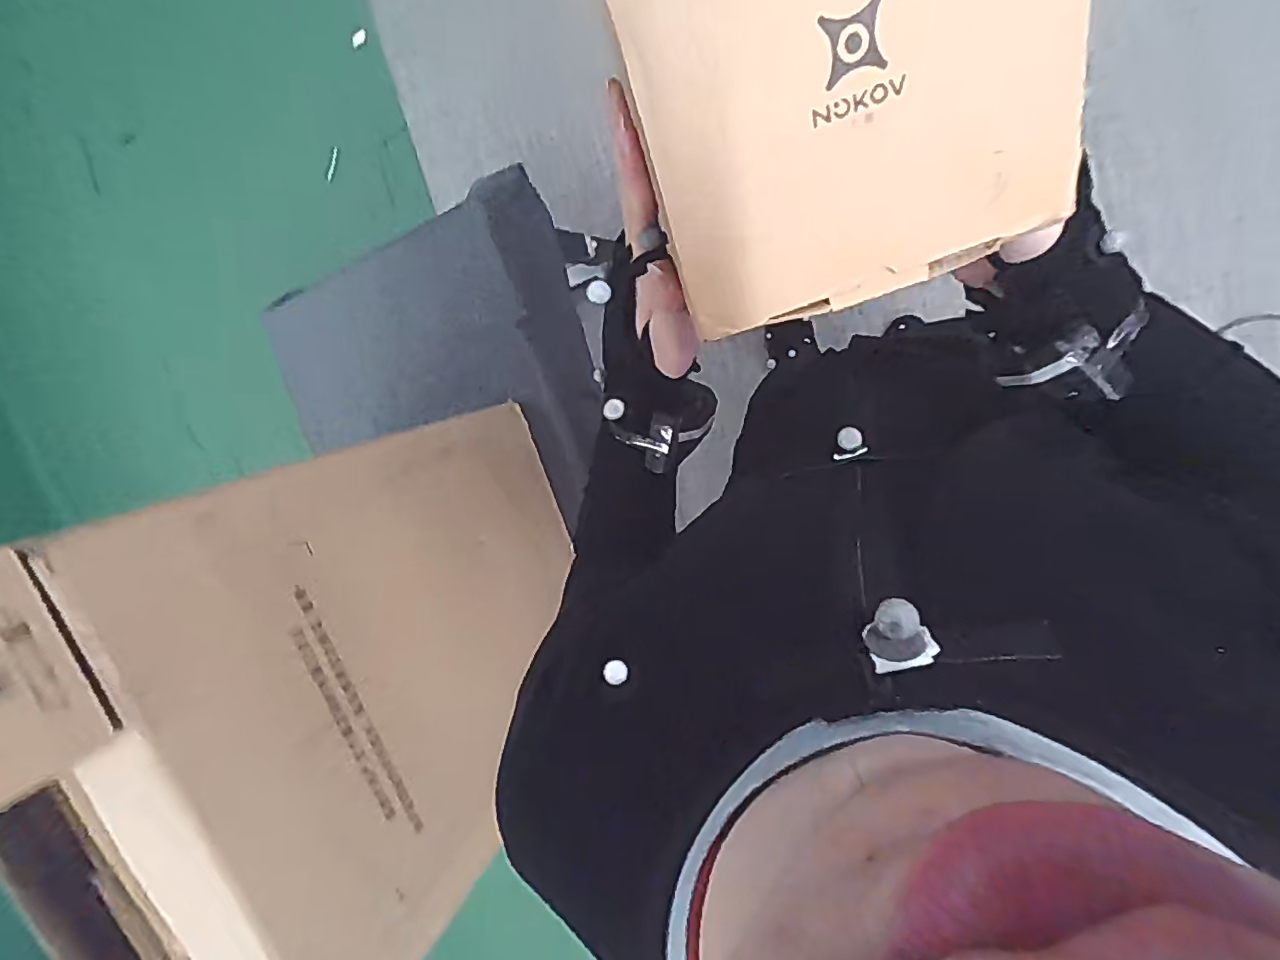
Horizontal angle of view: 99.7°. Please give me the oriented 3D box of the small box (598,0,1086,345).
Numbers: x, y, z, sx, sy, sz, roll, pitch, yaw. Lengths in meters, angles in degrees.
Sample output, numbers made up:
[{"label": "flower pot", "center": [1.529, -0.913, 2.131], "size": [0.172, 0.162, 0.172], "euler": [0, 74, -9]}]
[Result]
[{"label": "small box", "center": [0.080, -0.196, 0.275], "size": [0.168, 0.176, 0.179], "euler": [-17, 119, 8]}]

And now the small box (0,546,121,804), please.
[{"label": "small box", "center": [-0.520, 0.161, 0.370], "size": [0.179, 0.176, 0.168], "euler": [-15, 100, 25]}]
